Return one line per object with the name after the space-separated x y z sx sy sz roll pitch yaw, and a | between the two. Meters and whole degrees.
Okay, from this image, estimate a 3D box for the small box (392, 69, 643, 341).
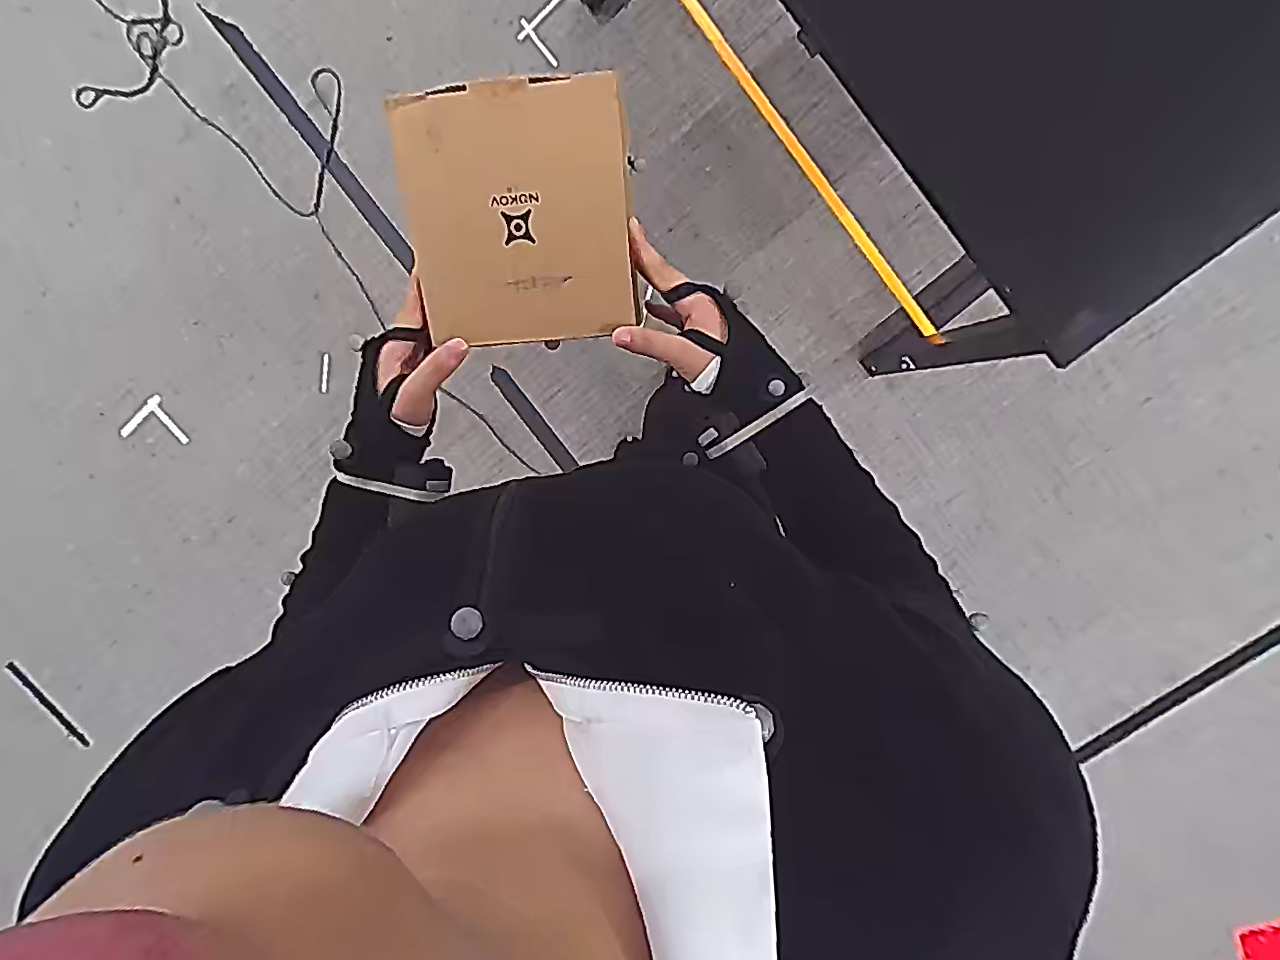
-0.086 -0.221 0.476 0.168 0.176 0.179 -3 109 4 | small box
